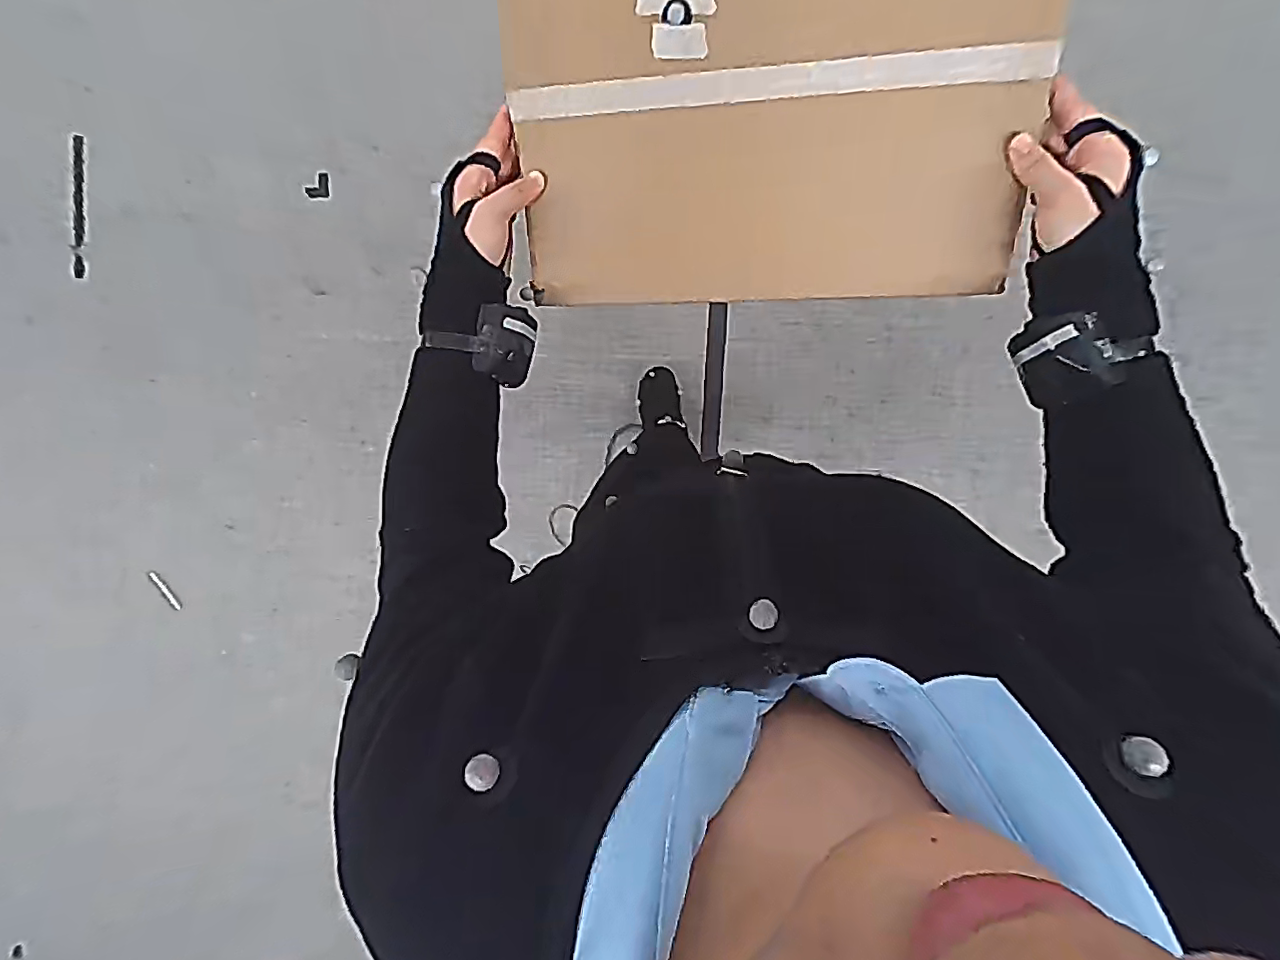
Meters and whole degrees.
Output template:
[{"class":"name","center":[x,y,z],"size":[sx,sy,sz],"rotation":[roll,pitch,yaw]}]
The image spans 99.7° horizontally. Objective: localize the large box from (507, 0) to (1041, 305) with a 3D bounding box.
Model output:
[{"class":"large box","center":[0.116,-0.371,0.566],"size":[0.408,0.320,0.320],"rotation":[0,113,8]}]
